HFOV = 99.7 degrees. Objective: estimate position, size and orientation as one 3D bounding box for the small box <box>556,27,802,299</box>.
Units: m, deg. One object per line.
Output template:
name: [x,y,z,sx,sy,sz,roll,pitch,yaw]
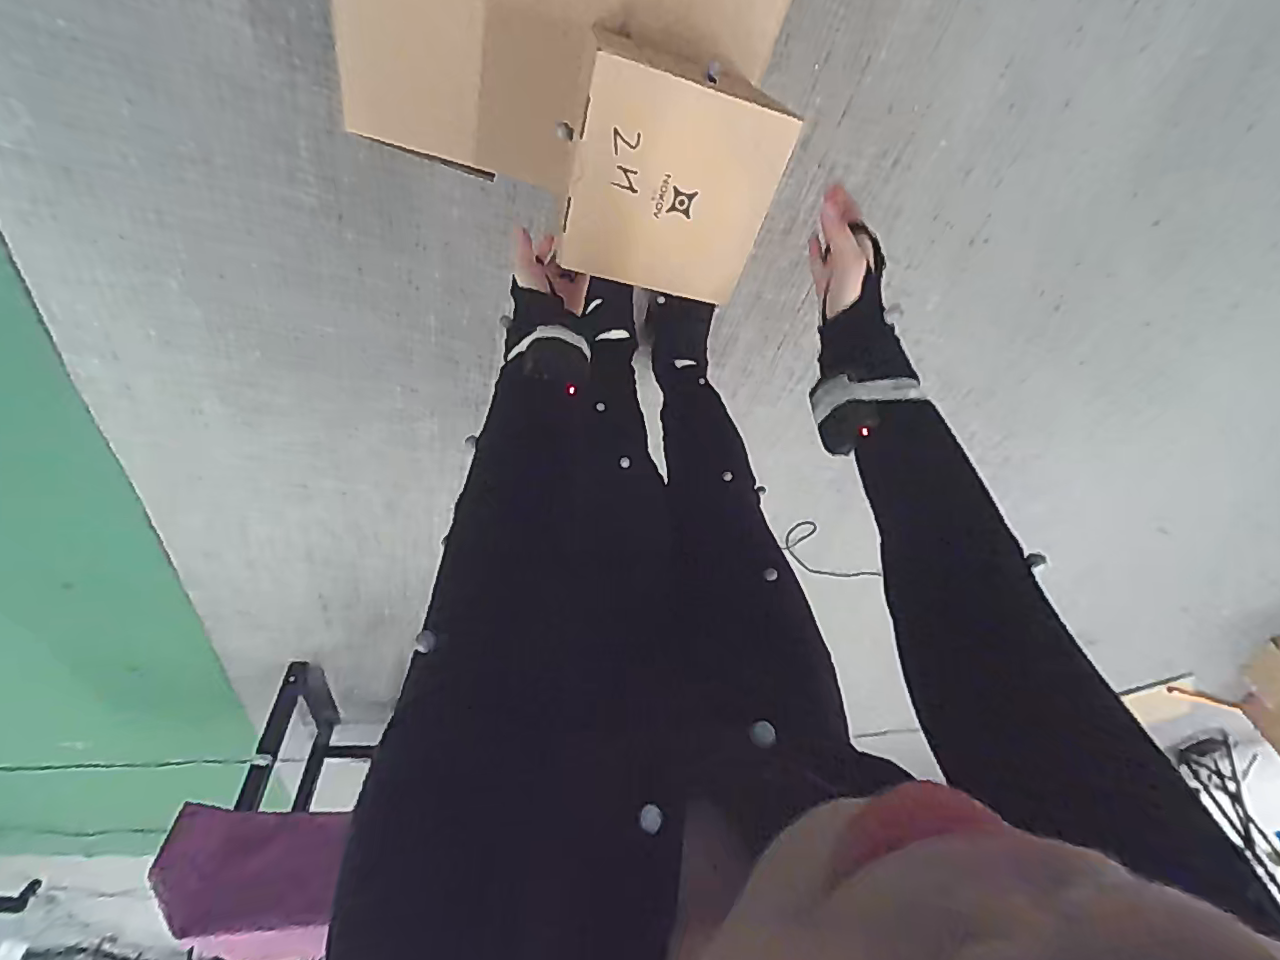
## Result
small box: [0.021,-0.306,0.523,0.179,0.176,0.168,9,133,-15]
